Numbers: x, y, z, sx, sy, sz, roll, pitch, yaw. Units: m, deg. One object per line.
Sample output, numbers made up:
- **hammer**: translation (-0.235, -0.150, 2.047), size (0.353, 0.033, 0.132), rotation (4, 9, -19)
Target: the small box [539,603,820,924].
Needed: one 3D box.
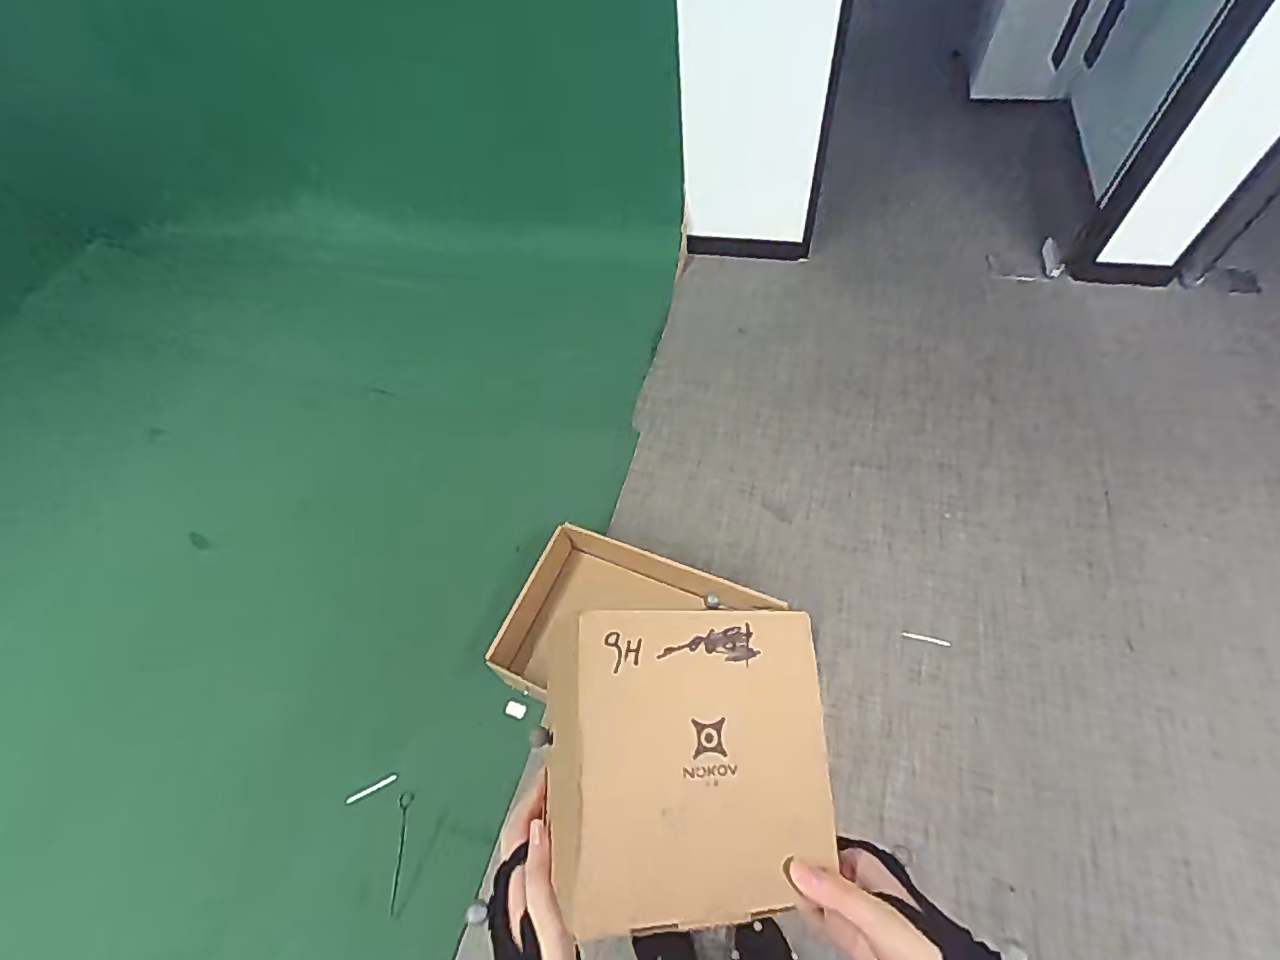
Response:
- **small box**: translation (0.014, 0.193, 0.414), size (0.168, 0.176, 0.179), rotation (5, 70, -14)
